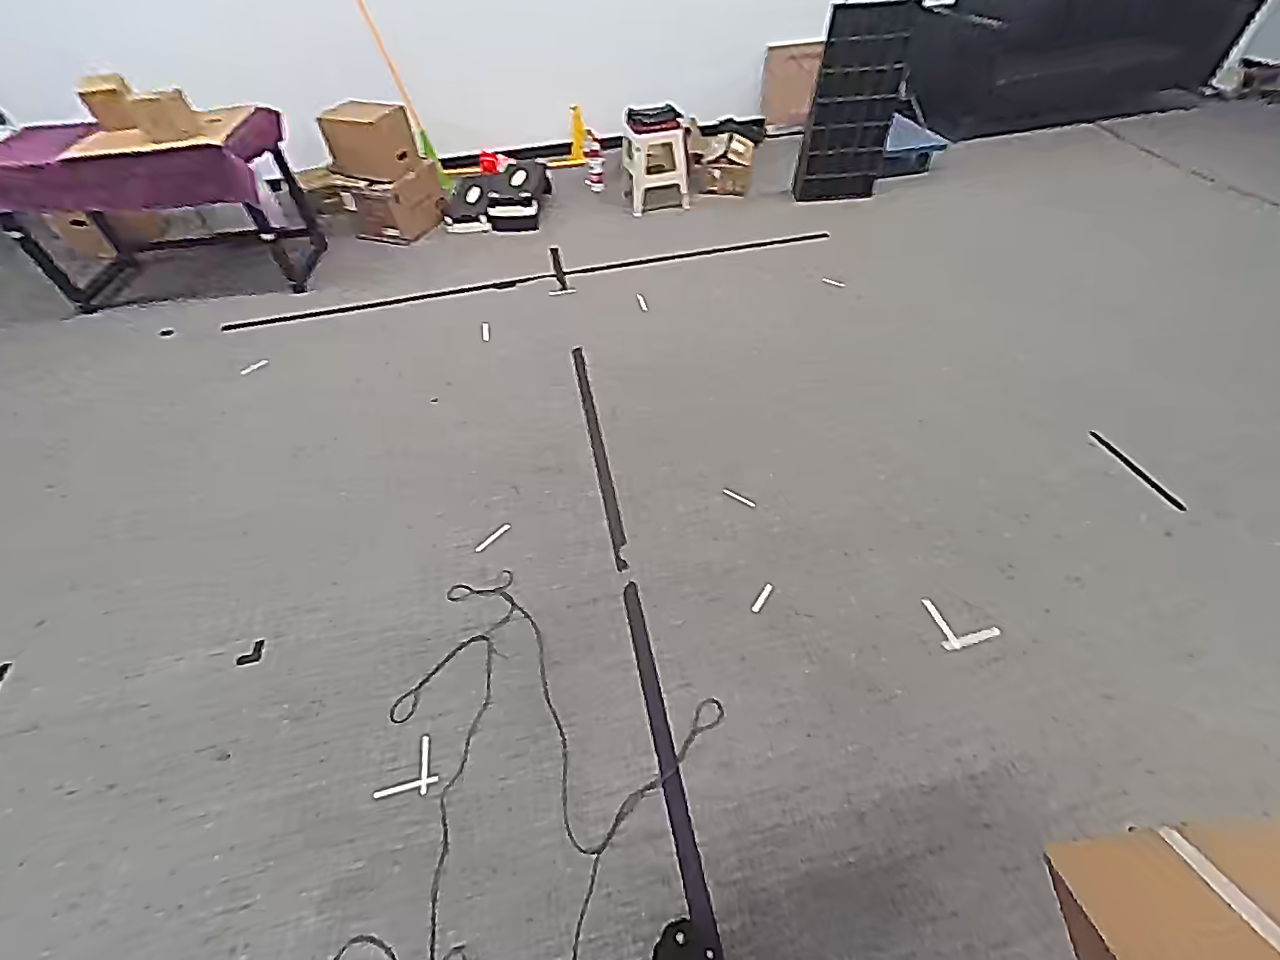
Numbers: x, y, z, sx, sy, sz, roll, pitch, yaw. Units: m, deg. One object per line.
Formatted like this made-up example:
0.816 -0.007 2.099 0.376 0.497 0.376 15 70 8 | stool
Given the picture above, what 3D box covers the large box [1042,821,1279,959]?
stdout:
0.719 0.641 0.556 0.320 0.408 0.320 -18 88 14 | large box
